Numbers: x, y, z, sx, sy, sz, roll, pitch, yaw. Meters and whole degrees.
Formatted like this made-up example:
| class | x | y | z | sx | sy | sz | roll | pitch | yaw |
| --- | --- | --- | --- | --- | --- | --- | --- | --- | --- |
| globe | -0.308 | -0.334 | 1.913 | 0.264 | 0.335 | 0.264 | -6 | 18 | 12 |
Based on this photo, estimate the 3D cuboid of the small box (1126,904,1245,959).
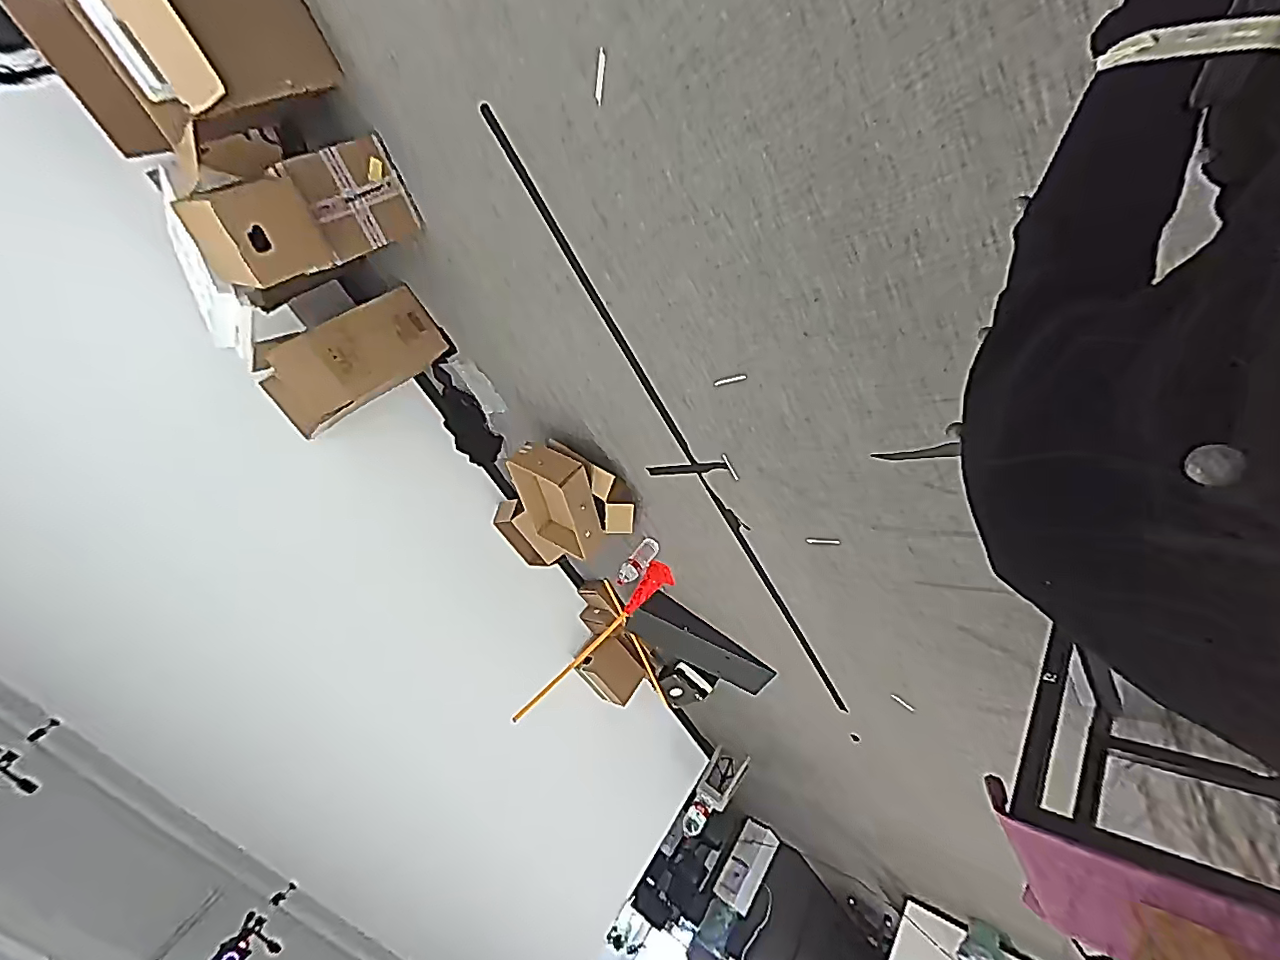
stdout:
| class | x | y | z | sx | sy | sz | roll | pitch | yaw |
| --- | --- | --- | --- | --- | --- | --- | --- | --- | --- |
| small box | 1.204 | 1.086 | 1.191 | 0.179 | 0.176 | 0.168 | -2 | 128 | 49 |
